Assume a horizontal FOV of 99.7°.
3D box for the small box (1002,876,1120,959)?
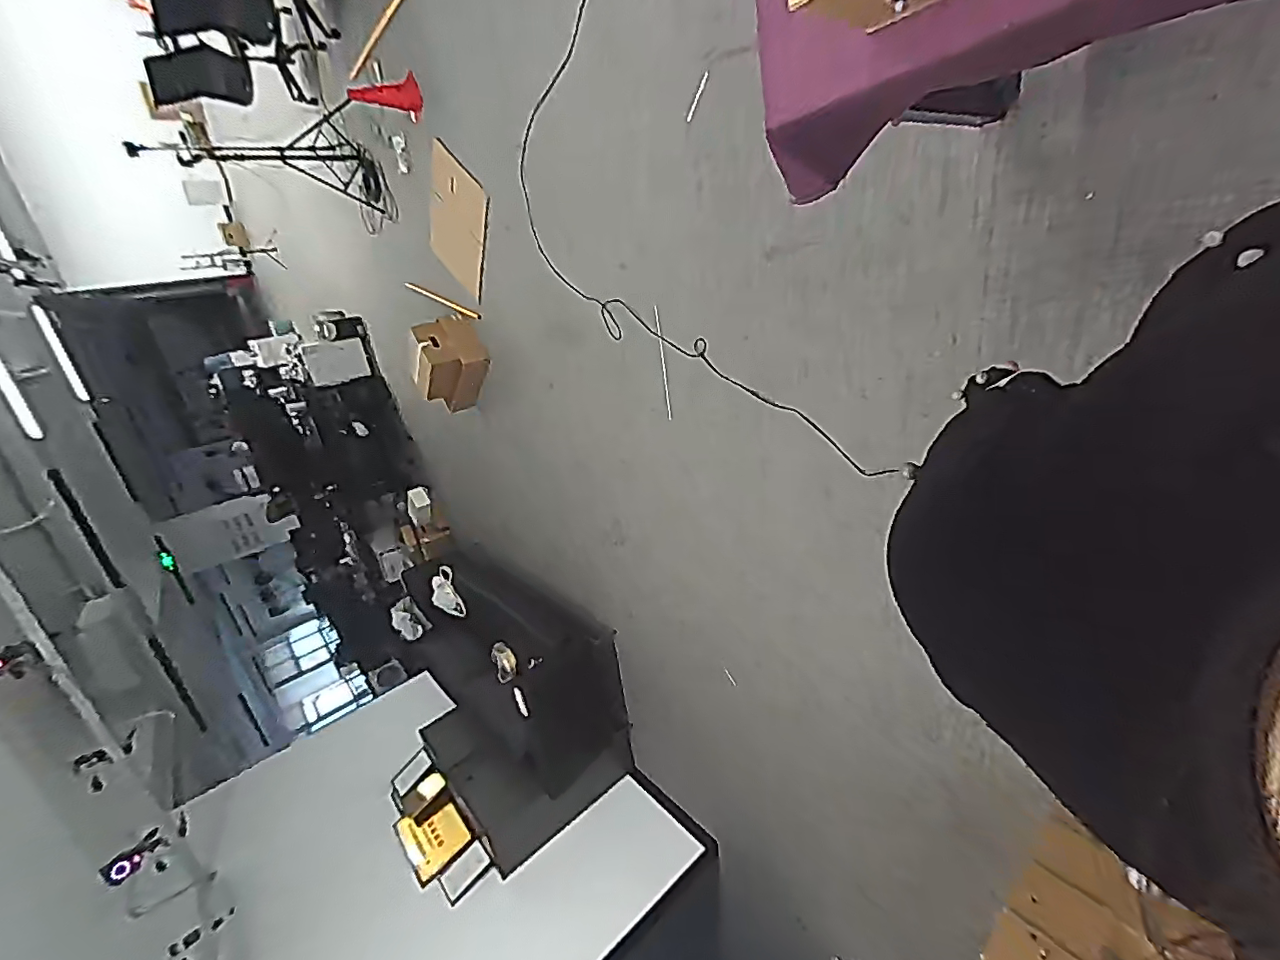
[{"bbox_3d":[1.008,1.106,1.299,0.179,0.176,0.168,18,125,47],"label":"small box"}]
